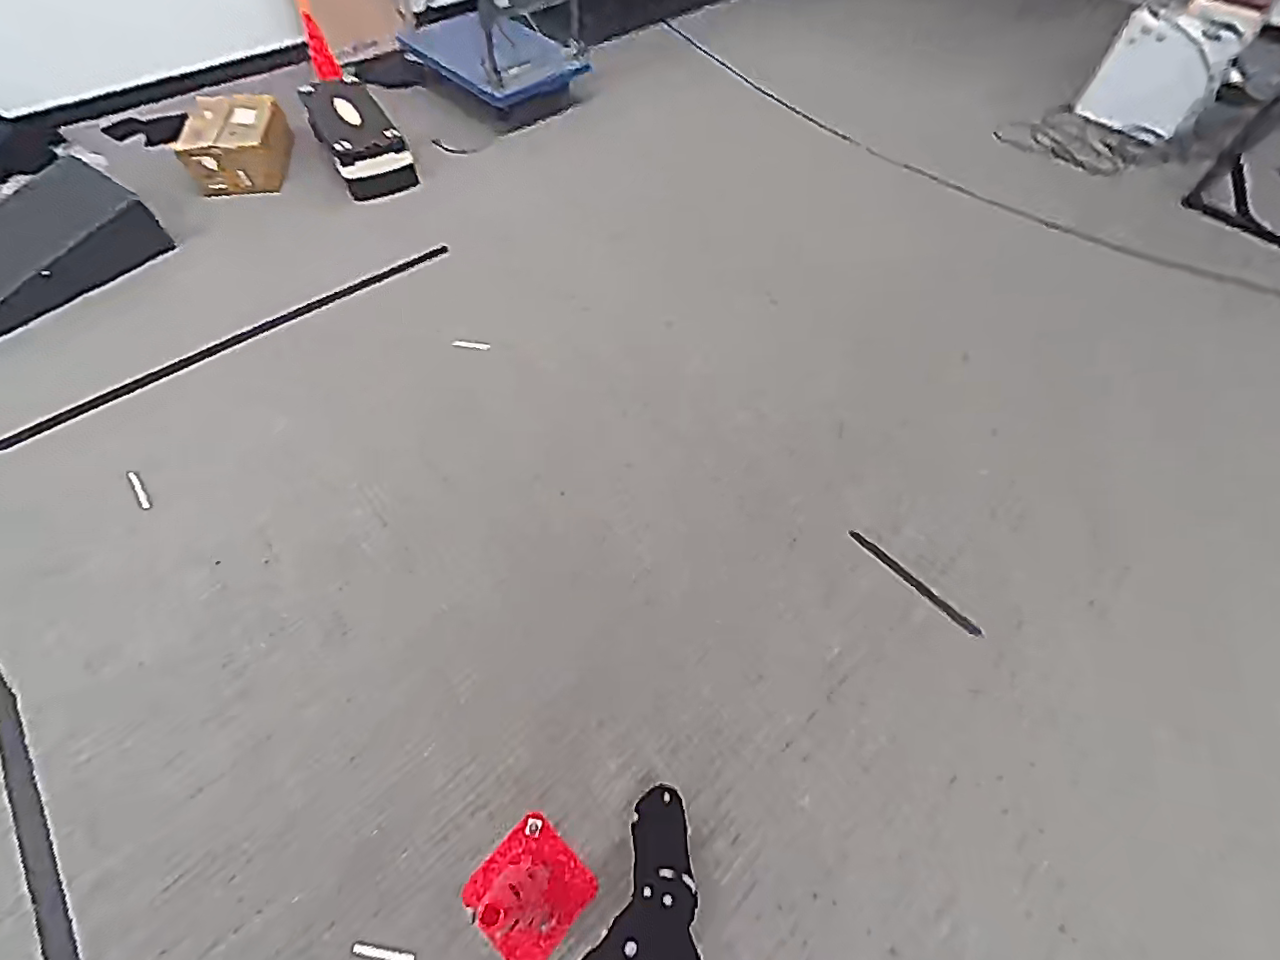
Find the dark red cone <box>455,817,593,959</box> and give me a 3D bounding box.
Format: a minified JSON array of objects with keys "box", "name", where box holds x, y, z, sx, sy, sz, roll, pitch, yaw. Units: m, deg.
[{"box":[-0.214,0.696,0.873,0.202,0.394,0.201,37,65,20],"name":"dark red cone"}]
